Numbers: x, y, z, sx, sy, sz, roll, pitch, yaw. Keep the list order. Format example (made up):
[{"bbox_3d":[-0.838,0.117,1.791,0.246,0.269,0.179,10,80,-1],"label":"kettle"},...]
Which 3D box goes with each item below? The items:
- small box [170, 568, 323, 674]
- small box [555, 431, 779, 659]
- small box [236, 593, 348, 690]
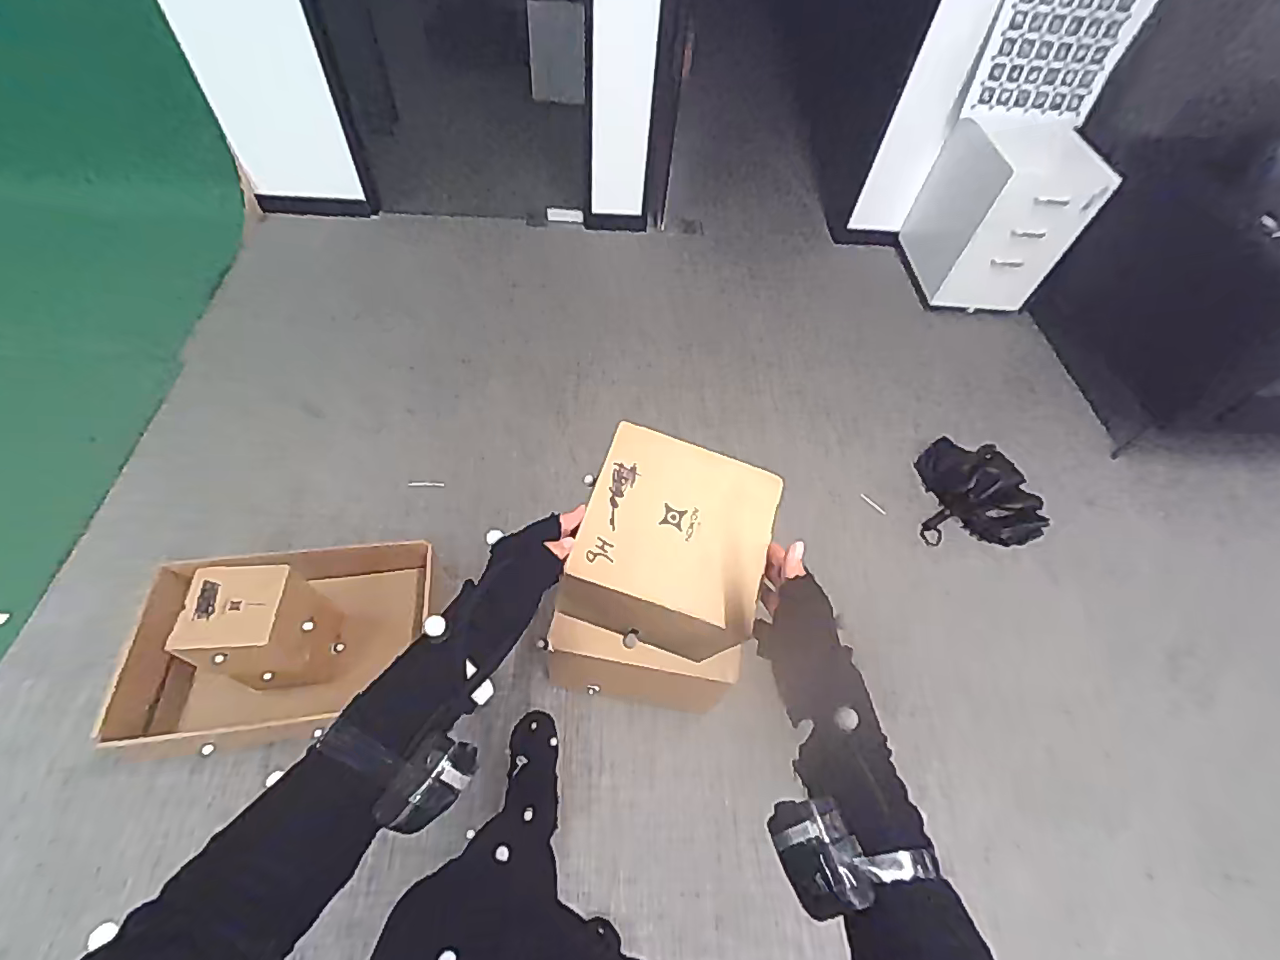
[{"bbox_3d":[-0.786,0.291,1.104,0.179,0.176,0.168,0,56,-8],"label":"small box"},{"bbox_3d":[0.021,0.080,0.573,0.179,0.176,0.168,20,62,-2],"label":"small box"},{"bbox_3d":[-0.804,0.374,1.246,0.179,0.176,0.168,-2,56,-10],"label":"small box"}]
